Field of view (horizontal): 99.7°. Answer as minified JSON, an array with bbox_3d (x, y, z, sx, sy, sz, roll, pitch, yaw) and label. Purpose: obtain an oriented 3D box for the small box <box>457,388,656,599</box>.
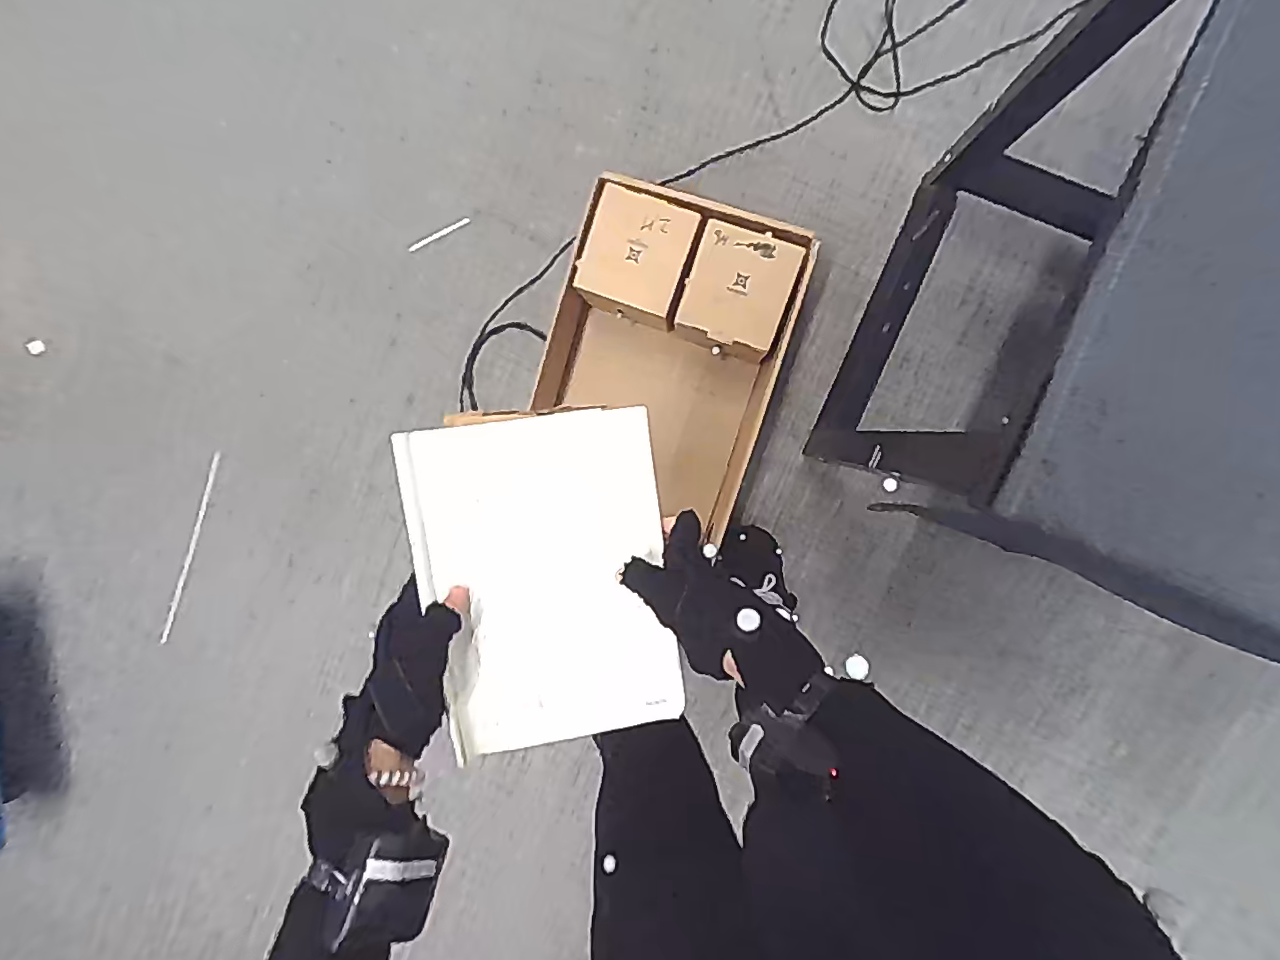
[{"bbox_3d":[-0.082,0.009,0.538,0.168,0.176,0.179,-3,92,-8],"label":"small box"}]
